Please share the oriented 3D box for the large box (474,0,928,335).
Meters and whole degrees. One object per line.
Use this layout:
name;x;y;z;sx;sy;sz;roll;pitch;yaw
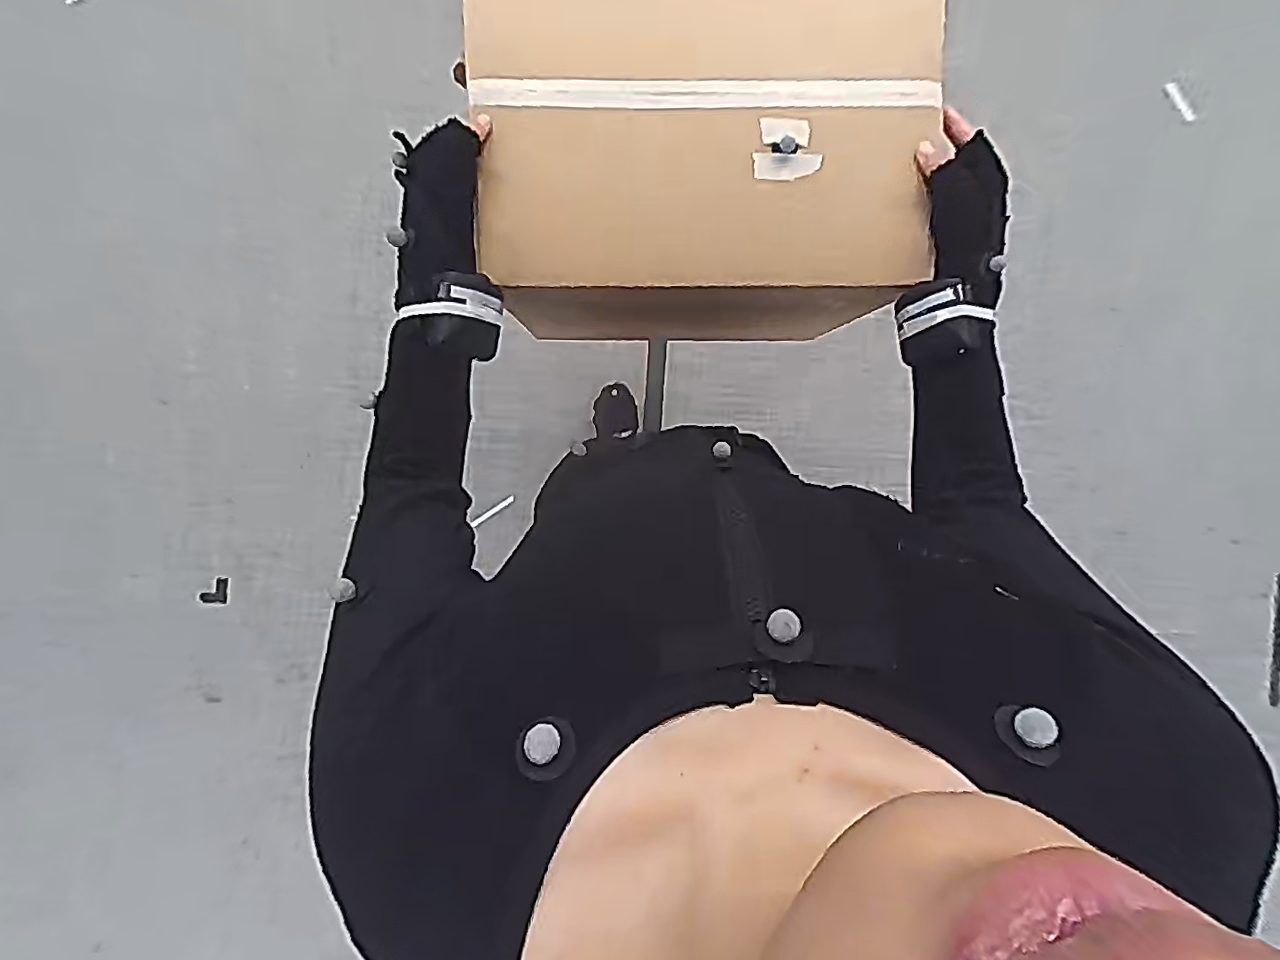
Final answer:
large box;0.050;-0.353;0.626;0.408;0.320;0.320;-1;97;-2
